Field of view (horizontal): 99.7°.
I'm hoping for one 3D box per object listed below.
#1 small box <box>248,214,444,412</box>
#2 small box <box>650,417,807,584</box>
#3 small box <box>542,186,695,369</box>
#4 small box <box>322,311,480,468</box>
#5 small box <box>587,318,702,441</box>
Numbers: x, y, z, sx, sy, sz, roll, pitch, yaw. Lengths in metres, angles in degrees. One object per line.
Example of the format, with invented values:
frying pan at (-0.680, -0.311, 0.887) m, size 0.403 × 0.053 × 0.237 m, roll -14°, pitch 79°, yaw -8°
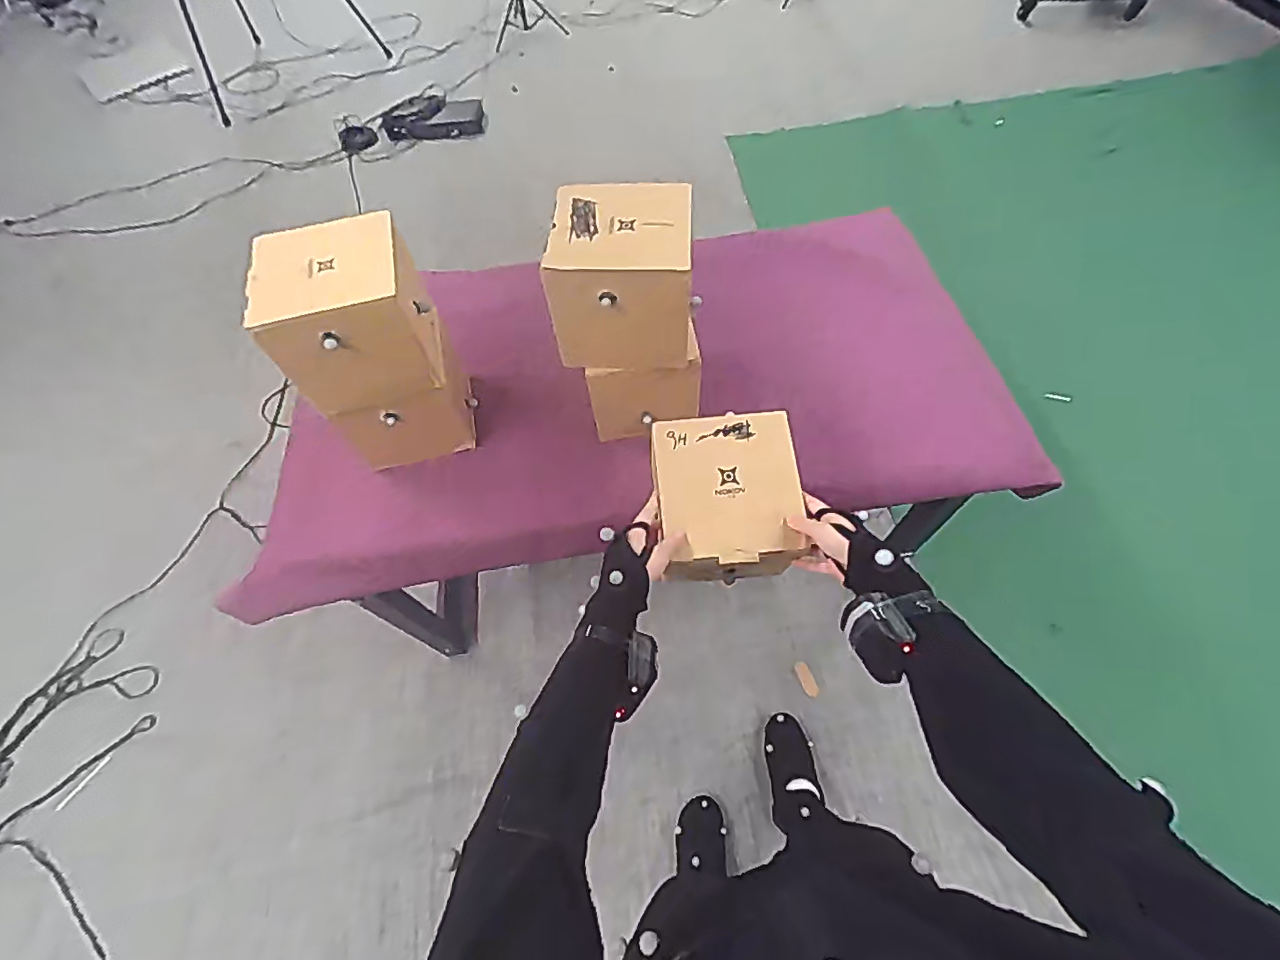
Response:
small box at (-0.376, -0.216, 0.724) m, size 0.179 × 0.176 × 0.168 m, roll -15°, pitch 61°, yaw -4°
small box at (0.102, 0.037, 0.698) m, size 0.168 × 0.176 × 0.179 m, roll -4°, pitch 71°, yaw 0°
small box at (-0.017, -0.265, 0.725) m, size 0.179 × 0.176 × 0.168 m, roll 2°, pitch 60°, yaw 4°
small box at (-0.372, -0.139, 0.866) m, size 0.179 × 0.176 × 0.168 m, roll -13°, pitch 61°, yaw -4°
small box at (0.002, -0.186, 0.868) m, size 0.168 × 0.176 × 0.179 m, roll -8°, pitch 60°, yaw 0°
